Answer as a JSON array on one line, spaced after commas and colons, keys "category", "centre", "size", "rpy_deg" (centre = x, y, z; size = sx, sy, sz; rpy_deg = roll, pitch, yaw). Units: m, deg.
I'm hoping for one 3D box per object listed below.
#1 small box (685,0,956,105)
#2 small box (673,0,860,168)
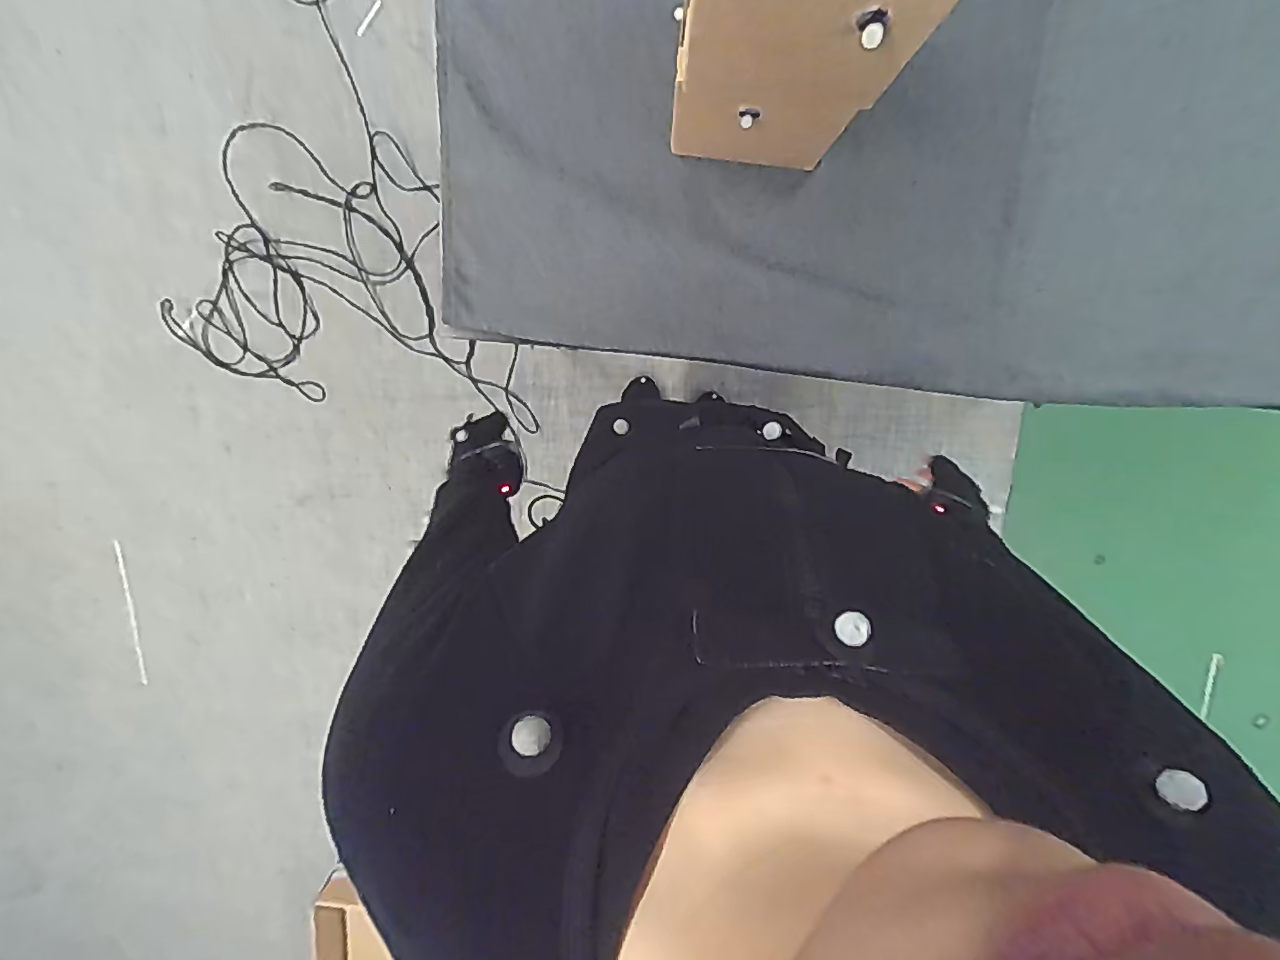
[{"category": "small box", "centre": [0.134, -0.418, 0.411], "size": [0.179, 0.176, 0.168], "rpy_deg": [5, 100, 0]}, {"category": "small box", "centre": [0.132, -0.454, 0.572], "size": [0.179, 0.176, 0.168], "rpy_deg": [7, 101, -1]}]
